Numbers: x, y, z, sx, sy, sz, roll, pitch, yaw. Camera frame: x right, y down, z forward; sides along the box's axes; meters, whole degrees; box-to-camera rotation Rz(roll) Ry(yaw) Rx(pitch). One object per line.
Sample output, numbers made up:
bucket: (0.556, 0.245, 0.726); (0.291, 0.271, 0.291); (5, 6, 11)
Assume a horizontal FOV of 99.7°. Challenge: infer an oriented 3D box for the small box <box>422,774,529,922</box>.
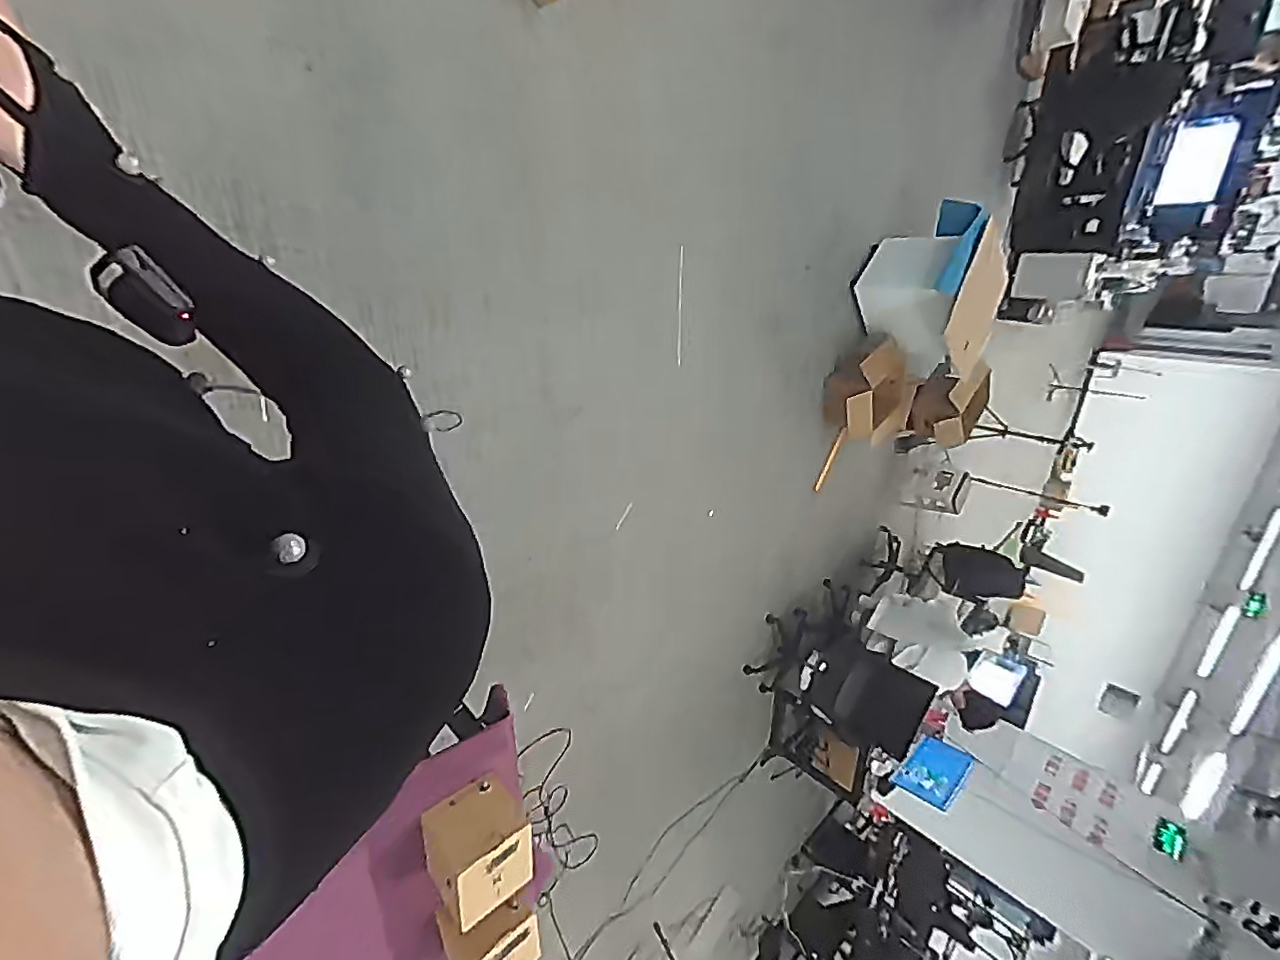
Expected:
small box: (-0.354, 0.774, 1.164); (0.168, 0.176, 0.179); (-16, 120, -41)
